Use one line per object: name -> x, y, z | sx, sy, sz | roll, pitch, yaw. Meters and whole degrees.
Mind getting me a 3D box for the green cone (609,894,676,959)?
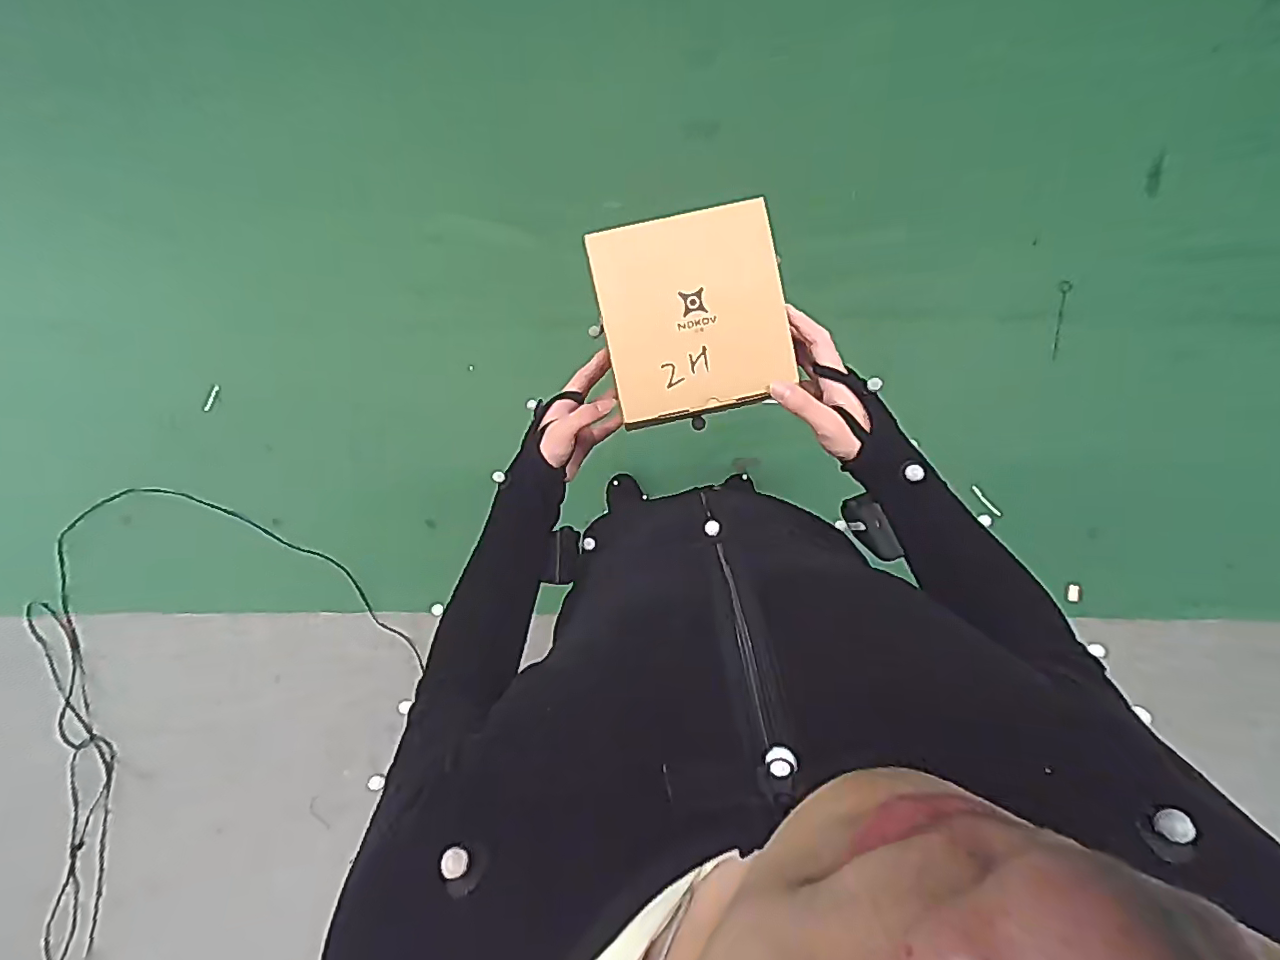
green cone -> -0.002, 1.358, 1.465 | 0.202, 0.368, 0.200 | 1, 91, 3
